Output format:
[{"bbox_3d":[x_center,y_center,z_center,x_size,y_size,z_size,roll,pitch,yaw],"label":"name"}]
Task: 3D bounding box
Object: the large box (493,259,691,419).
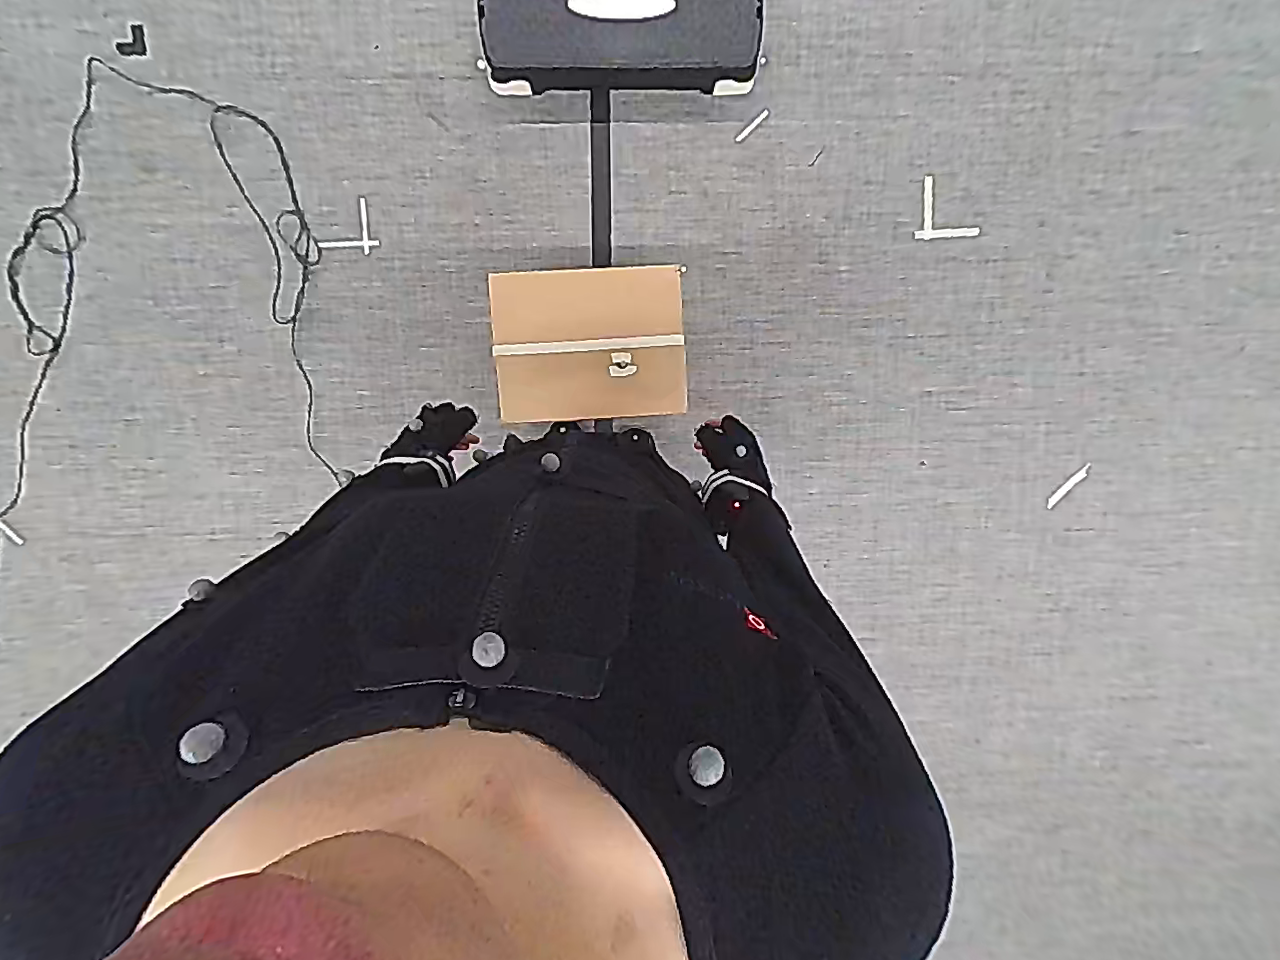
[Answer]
[{"bbox_3d":[-0.107,-0.316,1.298,0.408,0.320,0.320,-4,98,-2],"label":"large box"}]
